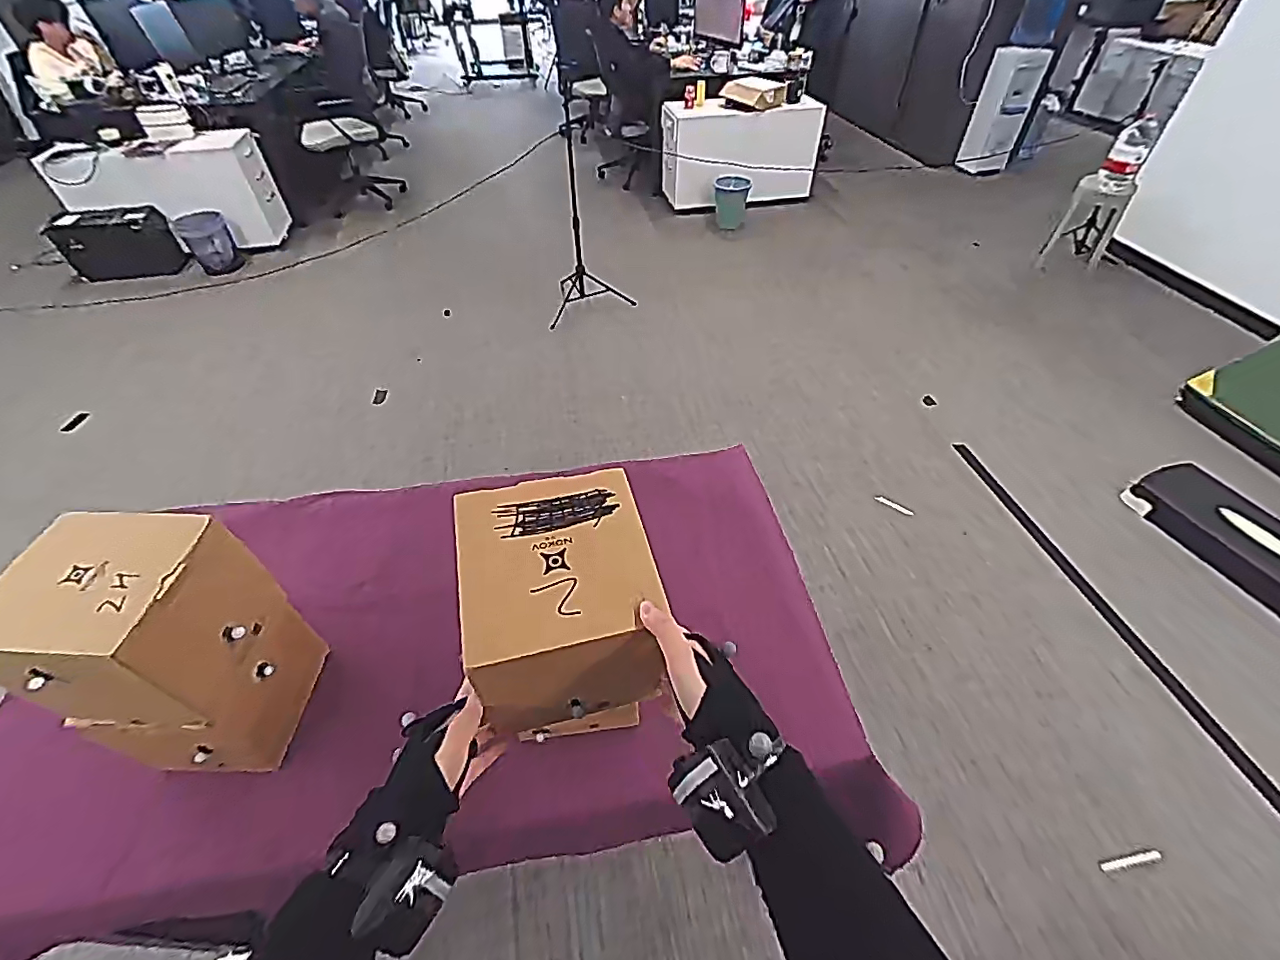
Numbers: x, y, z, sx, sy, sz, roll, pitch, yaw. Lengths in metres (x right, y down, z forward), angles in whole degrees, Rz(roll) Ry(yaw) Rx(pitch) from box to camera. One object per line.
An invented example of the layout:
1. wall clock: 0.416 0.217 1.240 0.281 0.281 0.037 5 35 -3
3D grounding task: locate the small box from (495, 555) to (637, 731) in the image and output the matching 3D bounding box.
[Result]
1. small box: -0.095 0.229 0.744 0.168 0.176 0.179 -5 46 -4

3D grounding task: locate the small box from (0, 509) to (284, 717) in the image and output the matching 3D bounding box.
1. small box: -0.553 0.150 0.602 0.179 0.176 0.168 2 47 1

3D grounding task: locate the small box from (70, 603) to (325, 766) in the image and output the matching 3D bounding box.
1. small box: -0.558 0.265 0.719 0.168 0.176 0.179 1 46 1
